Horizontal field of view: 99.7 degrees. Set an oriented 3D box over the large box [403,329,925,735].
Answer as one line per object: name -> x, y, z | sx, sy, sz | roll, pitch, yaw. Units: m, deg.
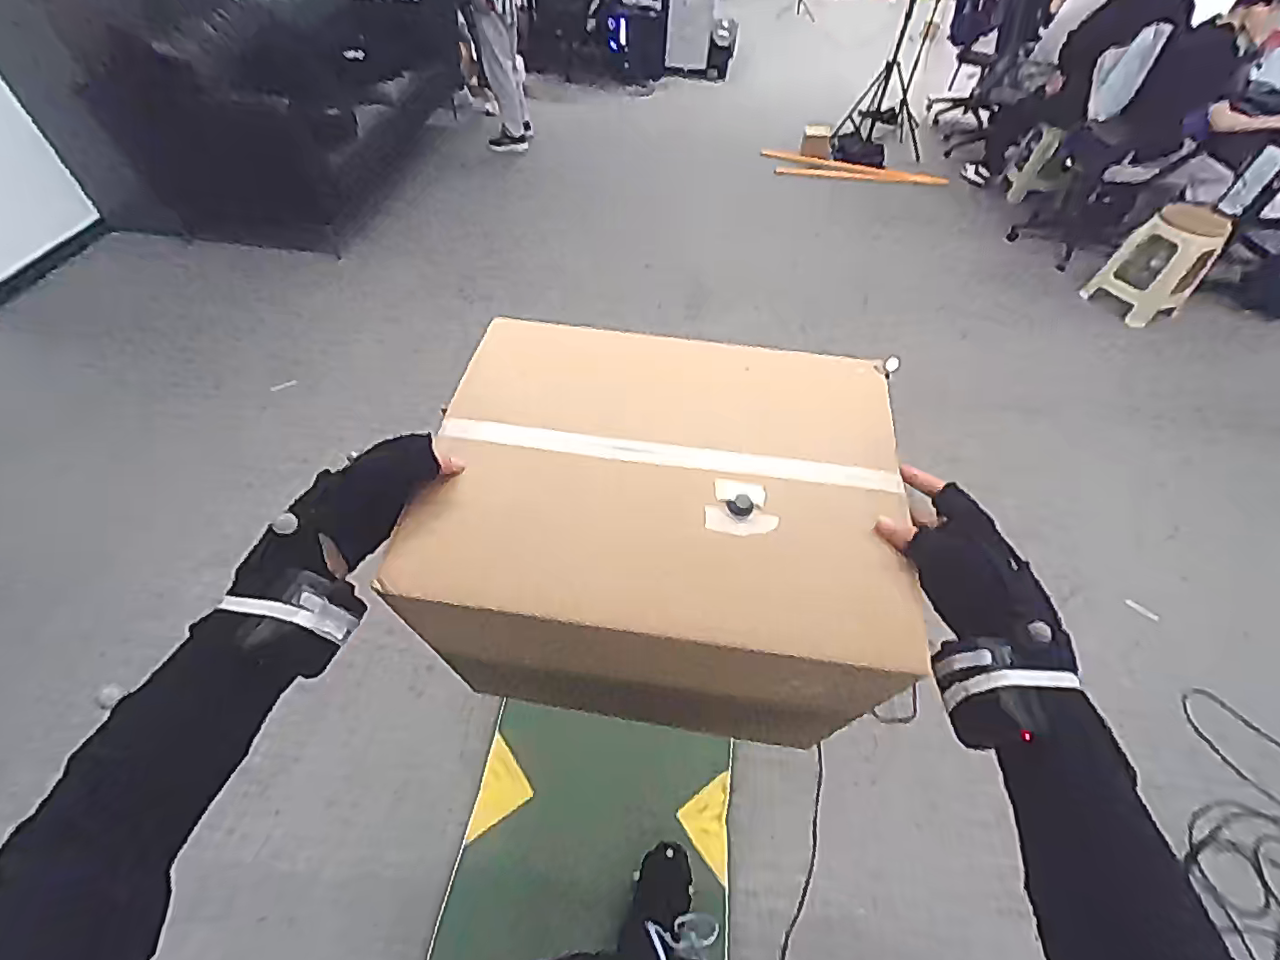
large box -> 0.026, 0.068, 0.608 | 0.408, 0.320, 0.320 | 8, 56, 3
